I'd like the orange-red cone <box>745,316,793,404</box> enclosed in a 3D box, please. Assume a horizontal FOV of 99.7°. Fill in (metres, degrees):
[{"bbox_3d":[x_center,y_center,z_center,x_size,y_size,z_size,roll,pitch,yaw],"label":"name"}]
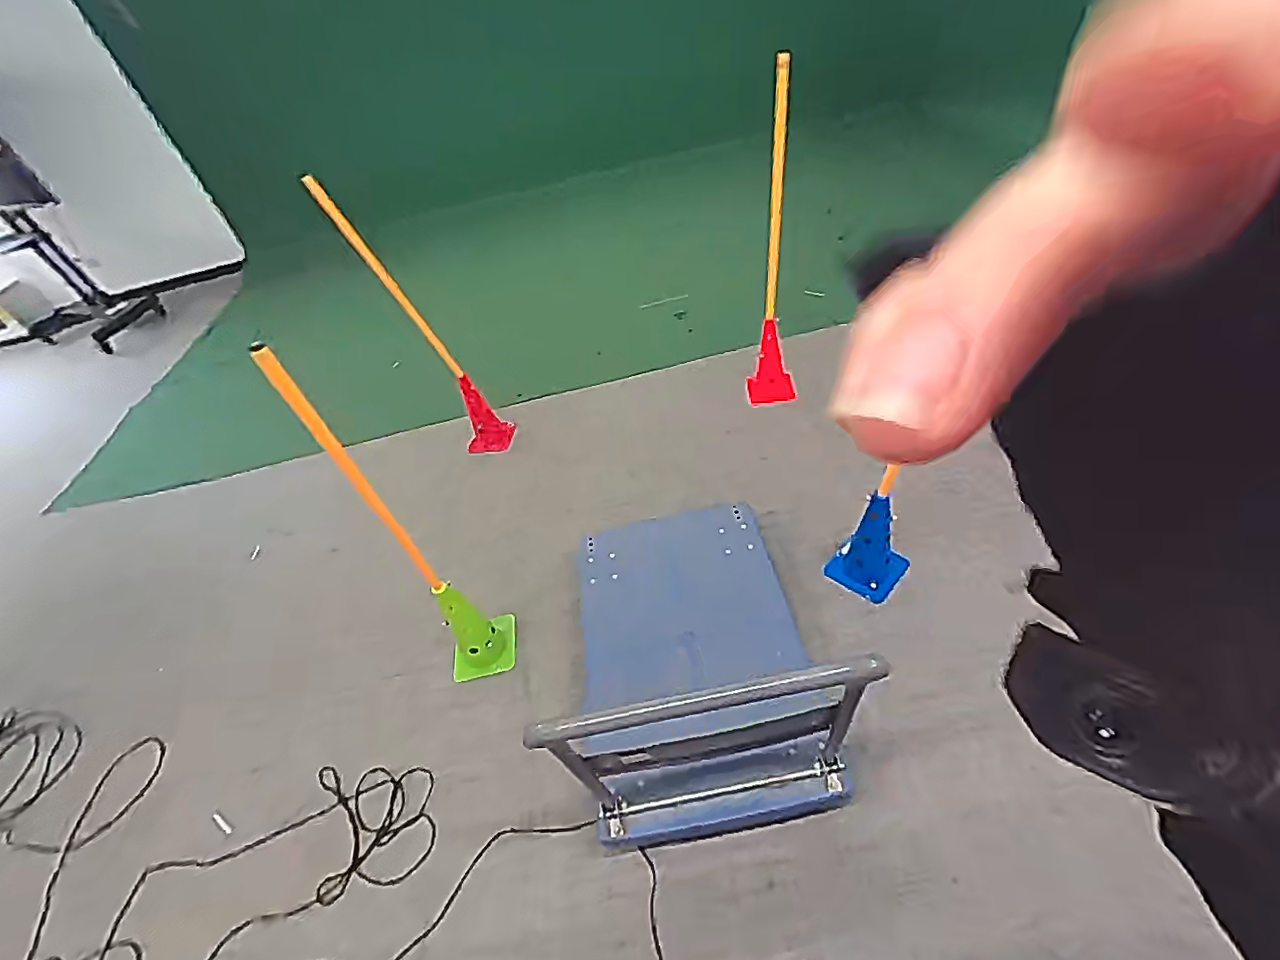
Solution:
[{"bbox_3d":[0.540,-0.524,2.287,0.198,0.360,0.199,-6,46,9],"label":"orange-red cone"}]
